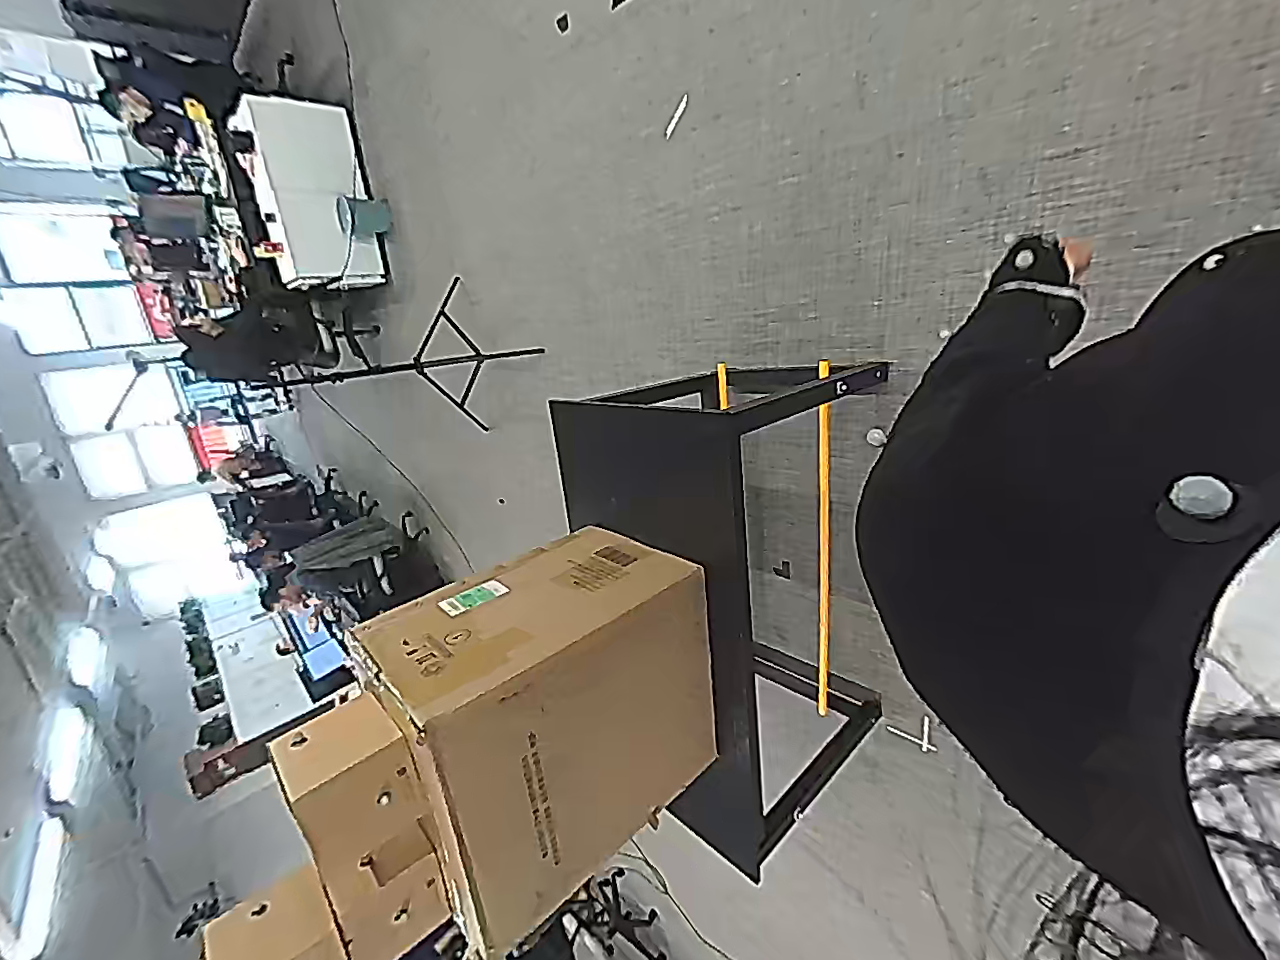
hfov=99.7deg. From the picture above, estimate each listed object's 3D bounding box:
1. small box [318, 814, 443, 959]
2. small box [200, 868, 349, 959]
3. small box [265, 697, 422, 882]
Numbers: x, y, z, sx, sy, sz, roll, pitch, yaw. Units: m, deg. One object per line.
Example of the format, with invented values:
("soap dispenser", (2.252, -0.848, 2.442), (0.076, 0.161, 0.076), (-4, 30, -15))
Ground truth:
("small box", (-0.481, 0.749, 1.004), (0.179, 0.176, 0.168), (11, 113, 46))
("small box", (-0.592, 0.795, 0.892), (0.179, 0.176, 0.168), (10, 113, 47))
("small box", (-0.488, 0.495, 0.899), (0.179, 0.176, 0.168), (12, 117, 46))
